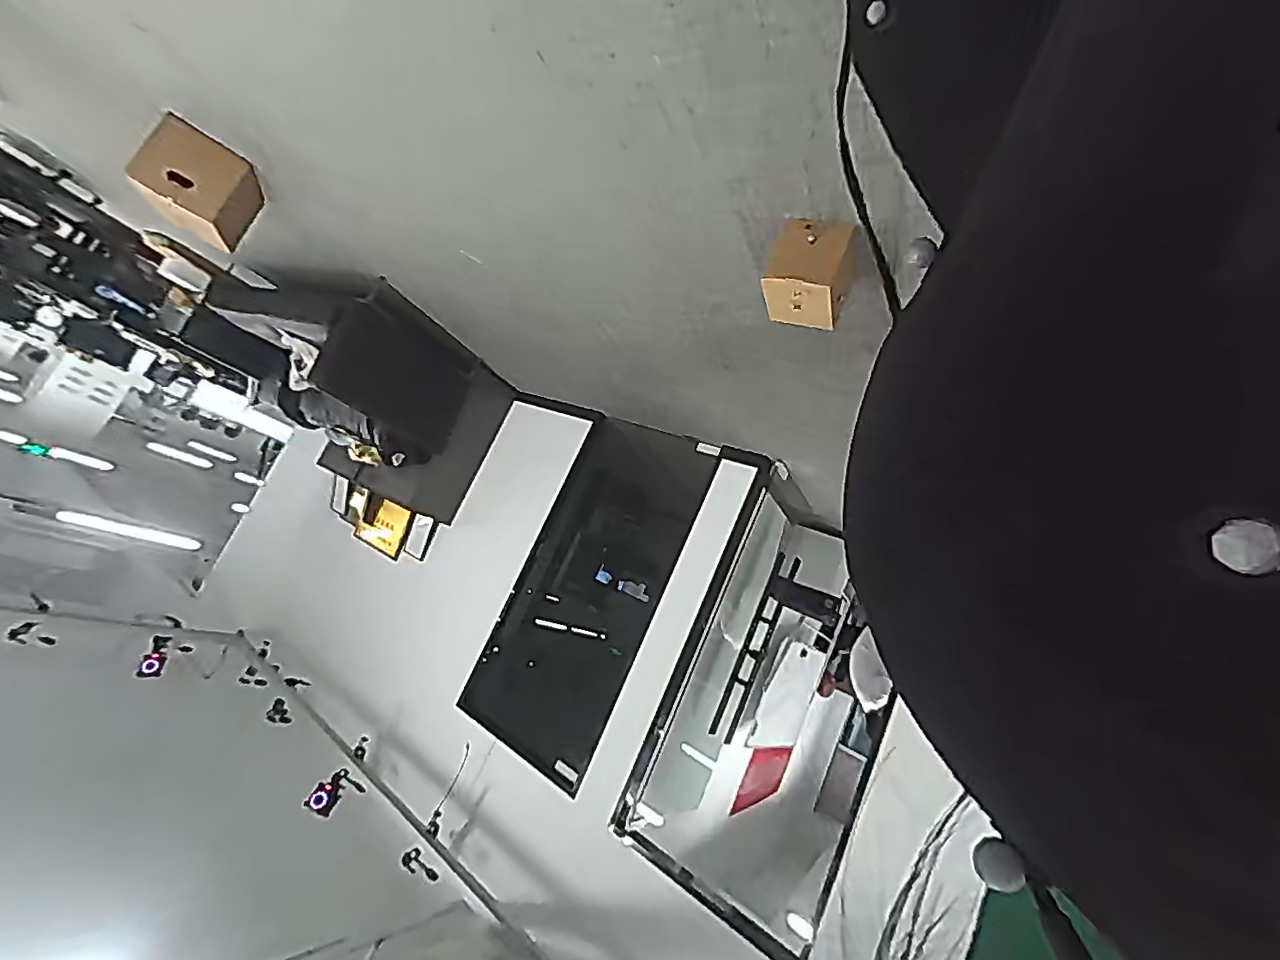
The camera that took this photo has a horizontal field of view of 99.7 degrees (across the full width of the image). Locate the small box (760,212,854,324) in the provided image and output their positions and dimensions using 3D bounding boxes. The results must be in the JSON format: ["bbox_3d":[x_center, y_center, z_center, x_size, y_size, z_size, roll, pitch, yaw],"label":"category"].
[{"bbox_3d":[0.406,-0.506,1.298,0.168,0.176,0.179,19,169,26],"label":"small box"}]
